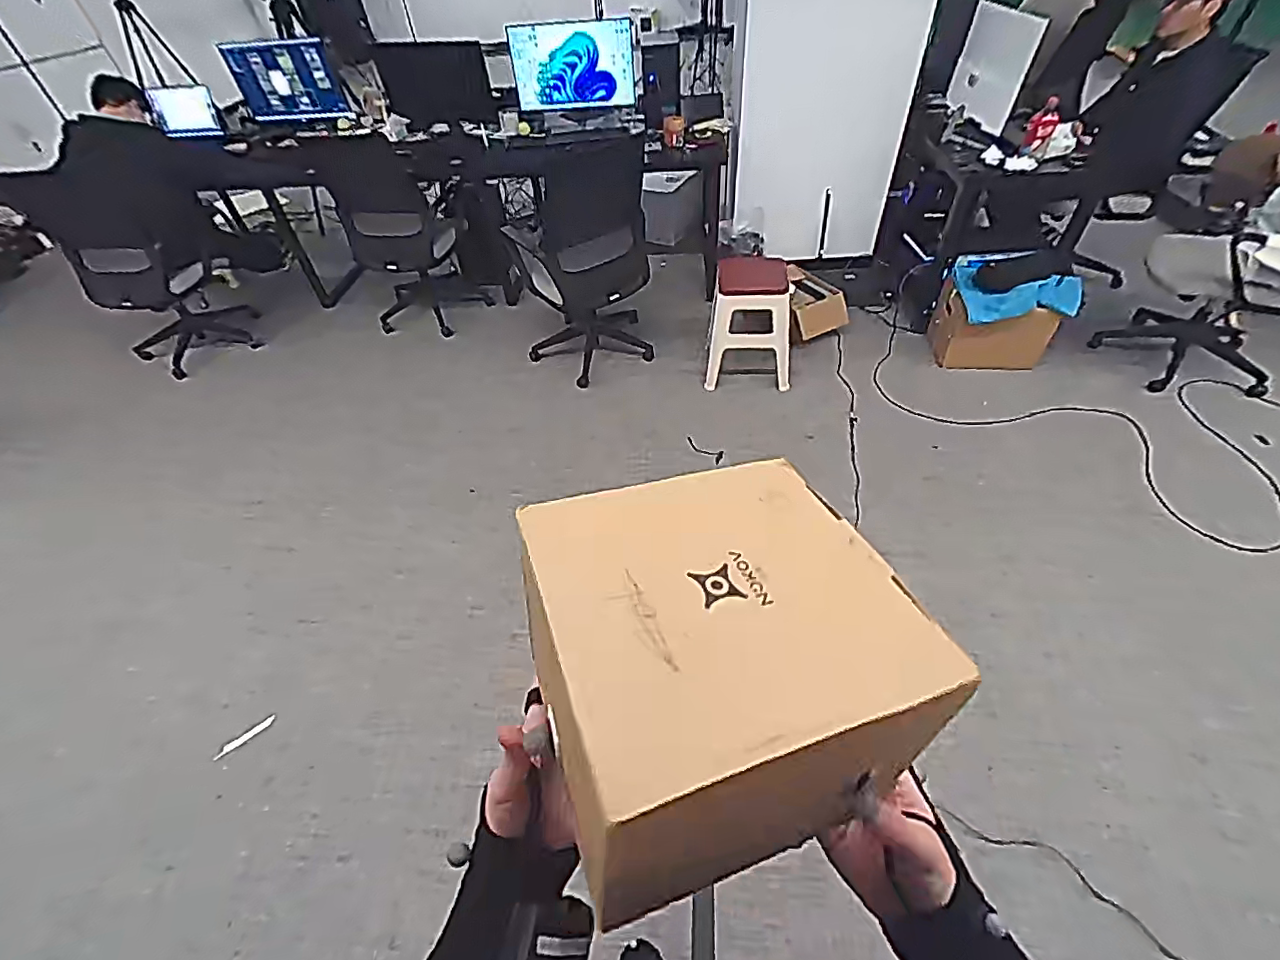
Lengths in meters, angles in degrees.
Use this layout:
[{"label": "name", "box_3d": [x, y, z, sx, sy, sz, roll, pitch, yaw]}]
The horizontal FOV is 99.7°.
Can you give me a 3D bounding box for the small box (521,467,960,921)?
[{"label": "small box", "box_3d": [0.036, 0.119, 0.328, 0.179, 0.176, 0.168, -13, 42, -19]}]
